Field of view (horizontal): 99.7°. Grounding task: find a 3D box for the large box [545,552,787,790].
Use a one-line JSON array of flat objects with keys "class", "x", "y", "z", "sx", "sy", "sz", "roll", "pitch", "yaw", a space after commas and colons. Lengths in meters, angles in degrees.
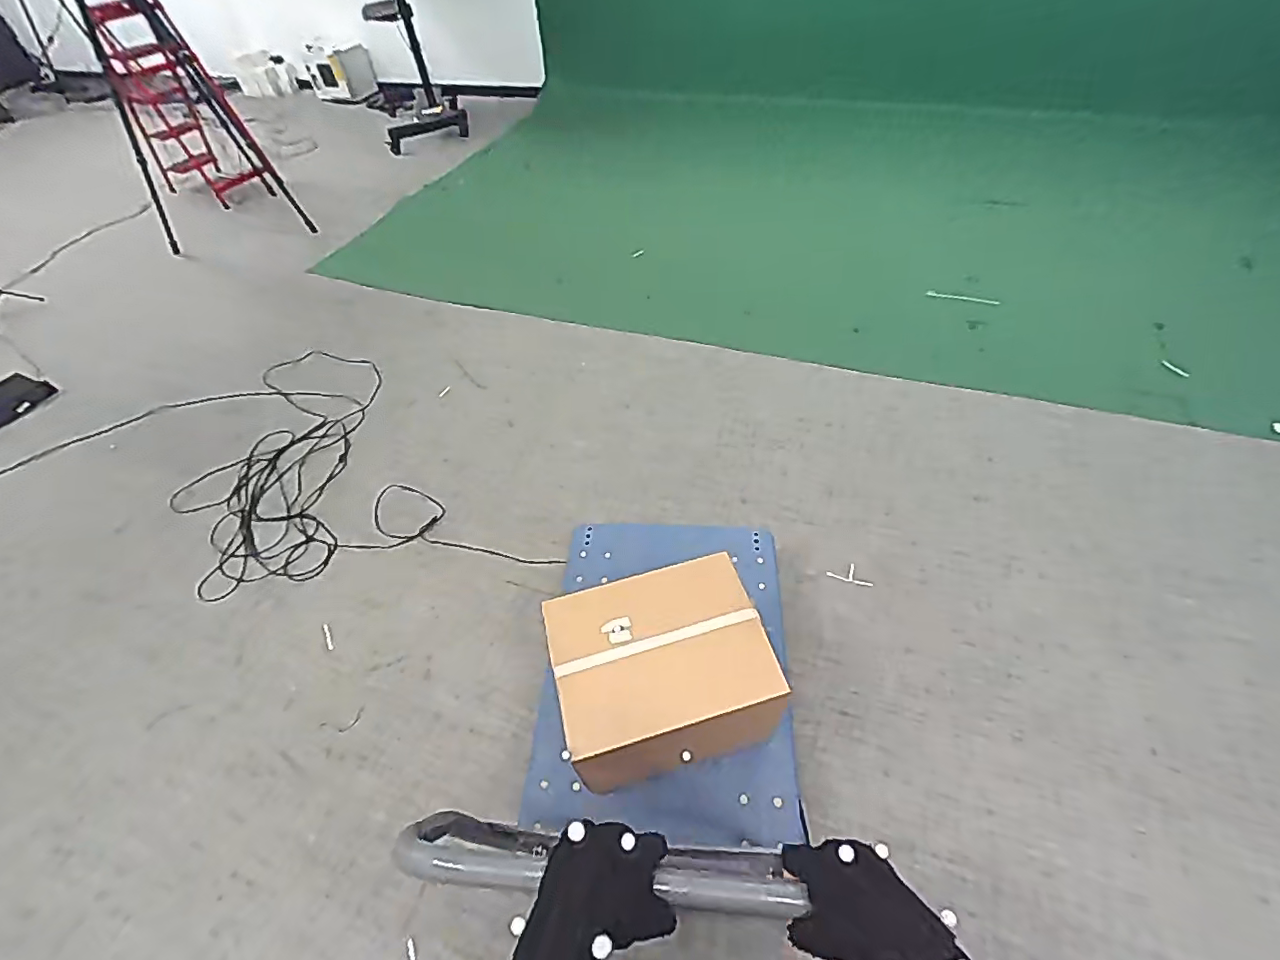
[{"class": "large box", "x": 0.048, "y": 0.409, "z": 1.154, "sx": 0.408, "sy": 0.320, "sz": 0.320, "roll": -15, "pitch": 50, "yaw": -7}]
